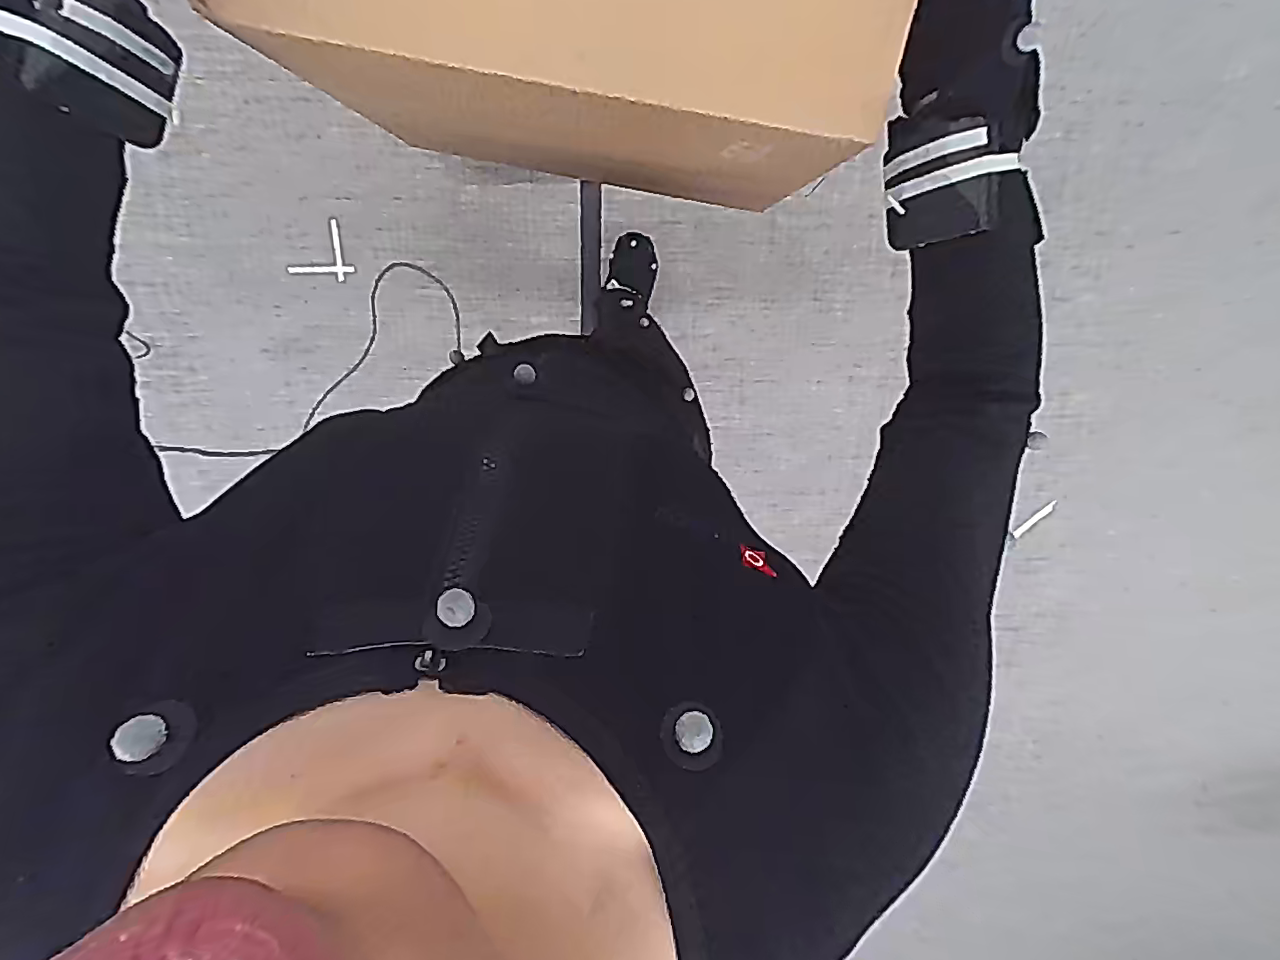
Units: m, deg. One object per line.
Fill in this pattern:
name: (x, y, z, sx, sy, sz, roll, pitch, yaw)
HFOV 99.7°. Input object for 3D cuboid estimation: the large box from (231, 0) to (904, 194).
large box: (-0.030, -0.443, 0.419, 0.408, 0.320, 0.320, 8, 110, -4)
